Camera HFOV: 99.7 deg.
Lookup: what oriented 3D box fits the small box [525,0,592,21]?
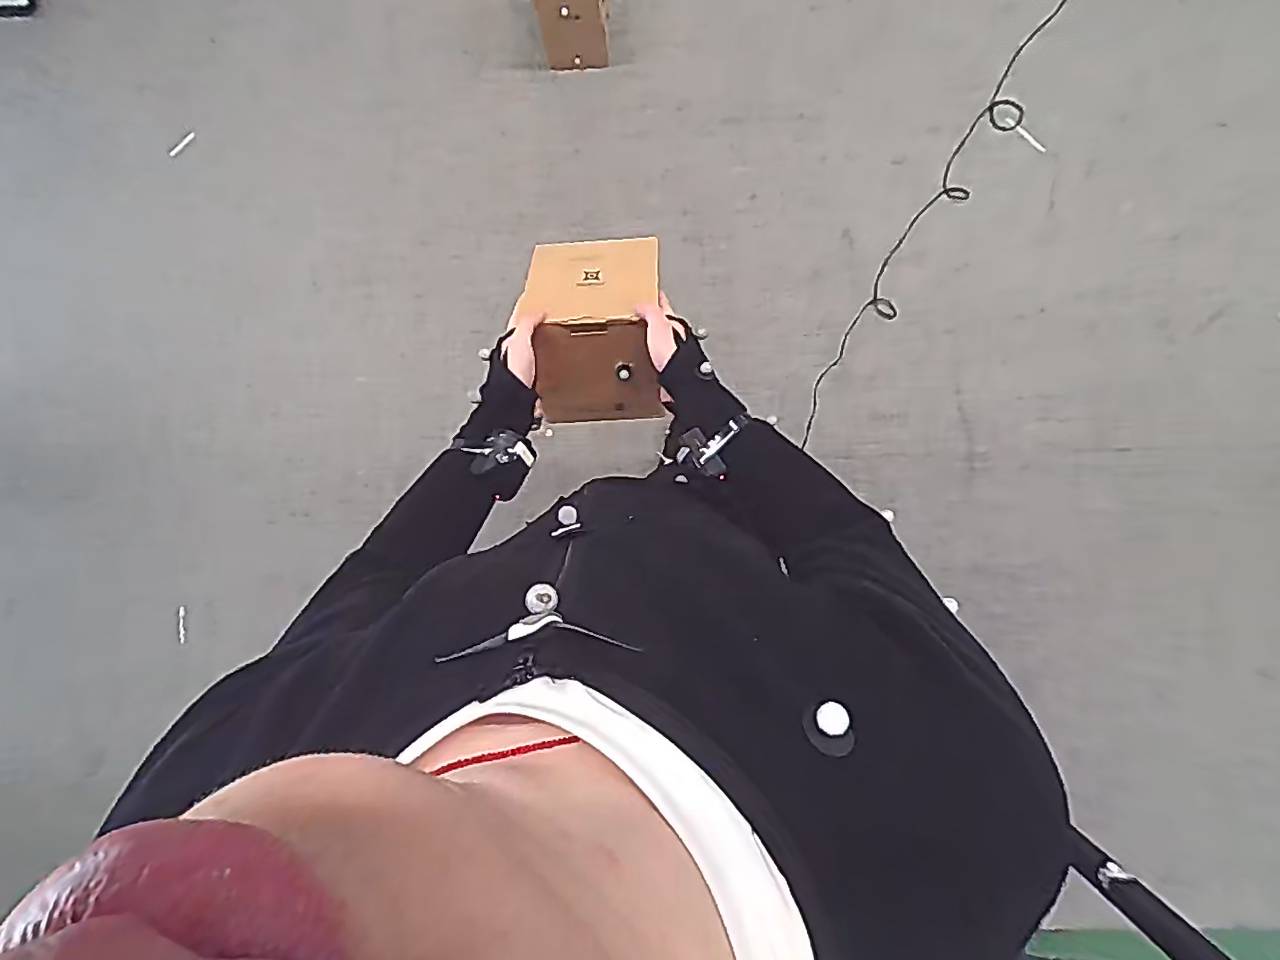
[{"bbox_3d":[-0.203,-1.246,1.282,0.168,0.176,0.179,2,91,3],"label":"small box"}]

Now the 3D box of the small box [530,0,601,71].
[{"bbox_3d":[-0.199,-1.255,1.468,0.179,0.176,0.168,-3,92,1],"label":"small box"}]
